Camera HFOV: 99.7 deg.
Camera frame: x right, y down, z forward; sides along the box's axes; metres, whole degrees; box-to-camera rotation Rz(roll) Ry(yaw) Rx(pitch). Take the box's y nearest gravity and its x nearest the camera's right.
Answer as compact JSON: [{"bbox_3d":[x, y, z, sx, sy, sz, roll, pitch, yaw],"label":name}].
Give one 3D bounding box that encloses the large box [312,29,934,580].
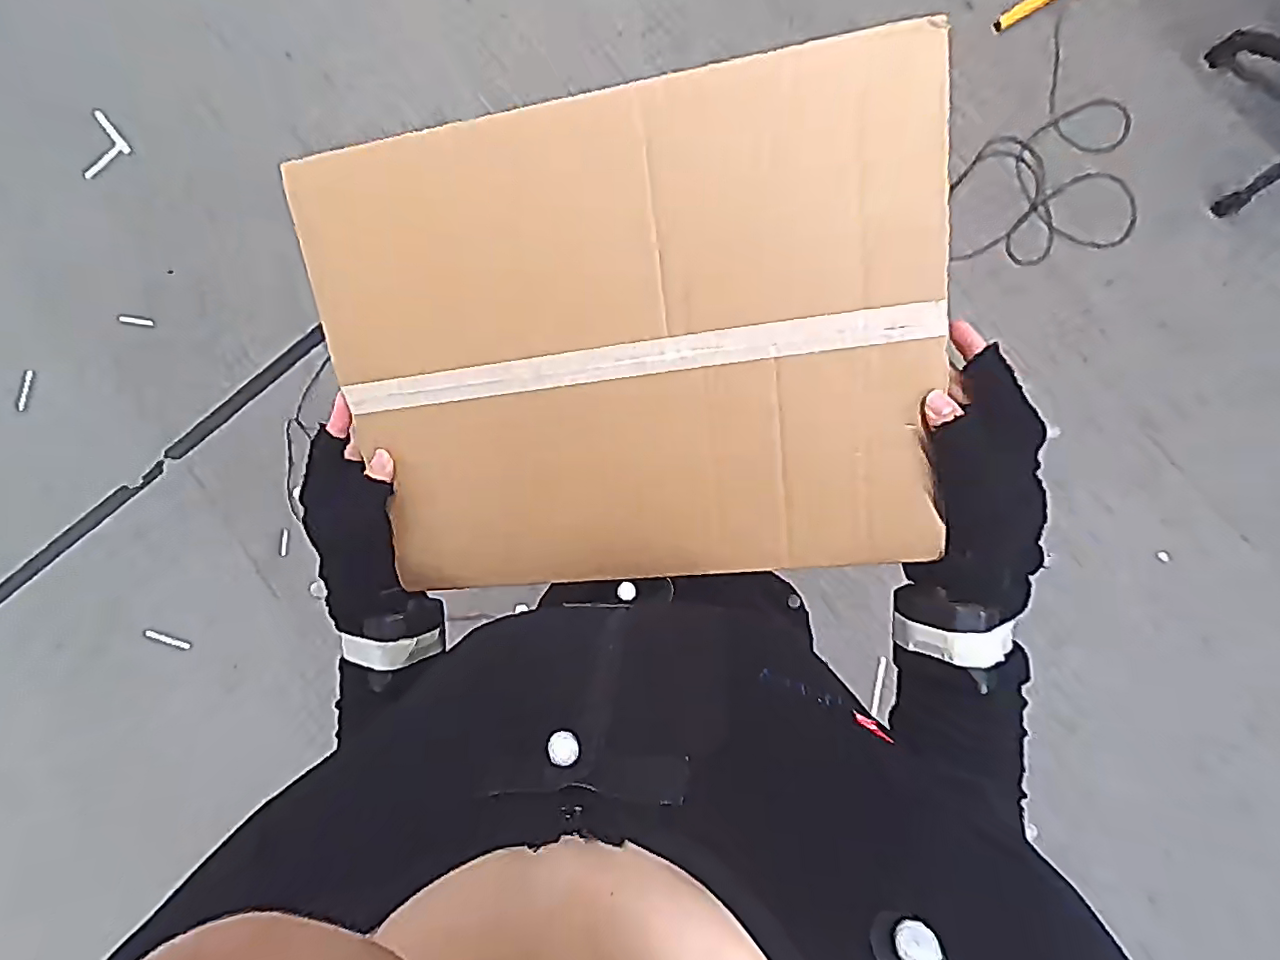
[{"bbox_3d":[0.008,-0.123,0.511,0.408,0.320,0.320,-5,106,10],"label":"large box"}]
